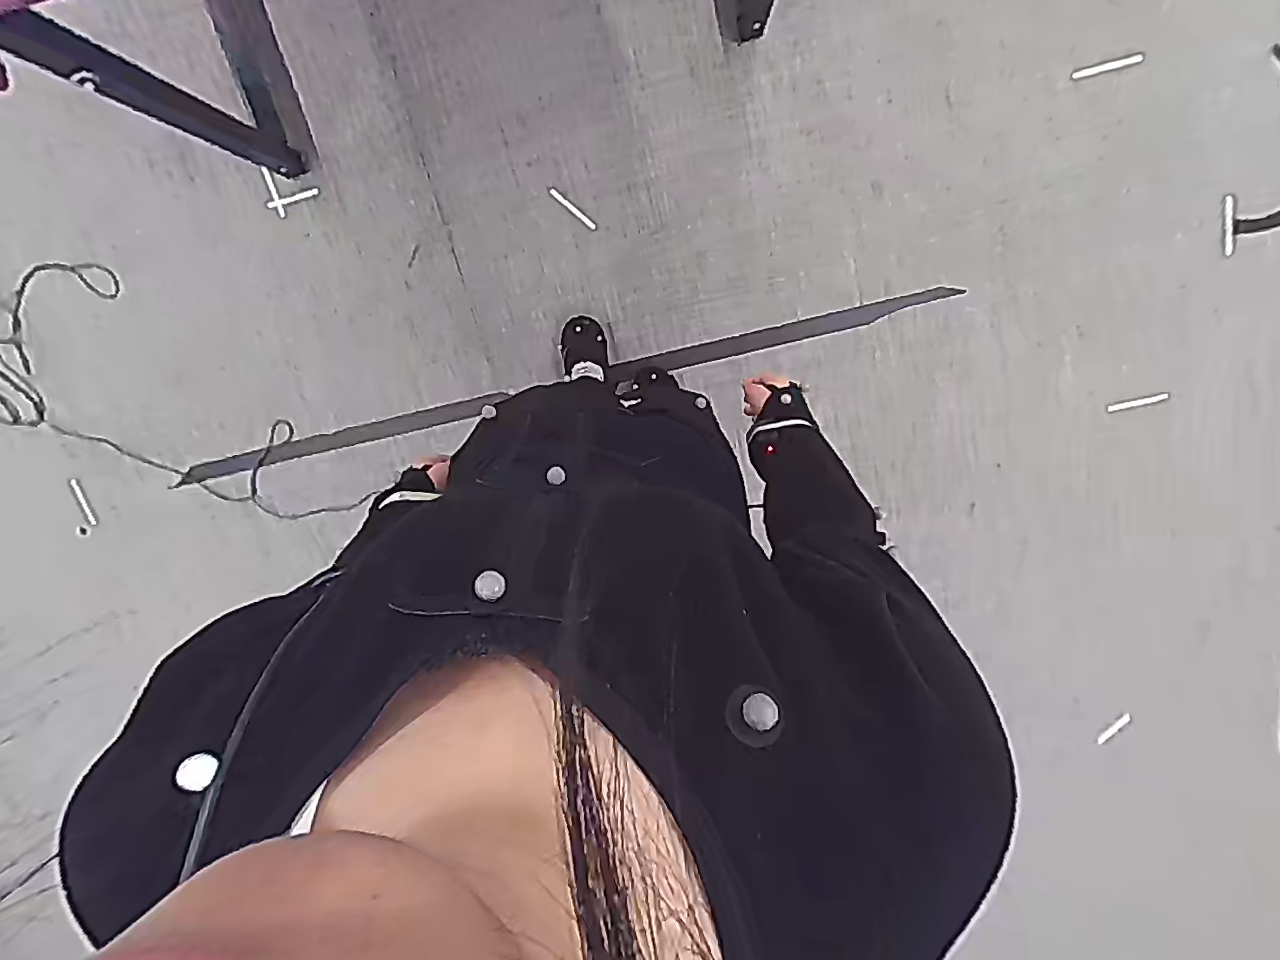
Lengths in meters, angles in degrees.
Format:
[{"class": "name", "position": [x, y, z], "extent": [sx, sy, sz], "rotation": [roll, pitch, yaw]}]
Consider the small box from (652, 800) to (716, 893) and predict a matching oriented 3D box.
[{"class": "small box", "position": [0.135, 1.140, 1.698], "extent": [0.168, 0.176, 0.179], "rotation": [-14, 104, 6]}]
